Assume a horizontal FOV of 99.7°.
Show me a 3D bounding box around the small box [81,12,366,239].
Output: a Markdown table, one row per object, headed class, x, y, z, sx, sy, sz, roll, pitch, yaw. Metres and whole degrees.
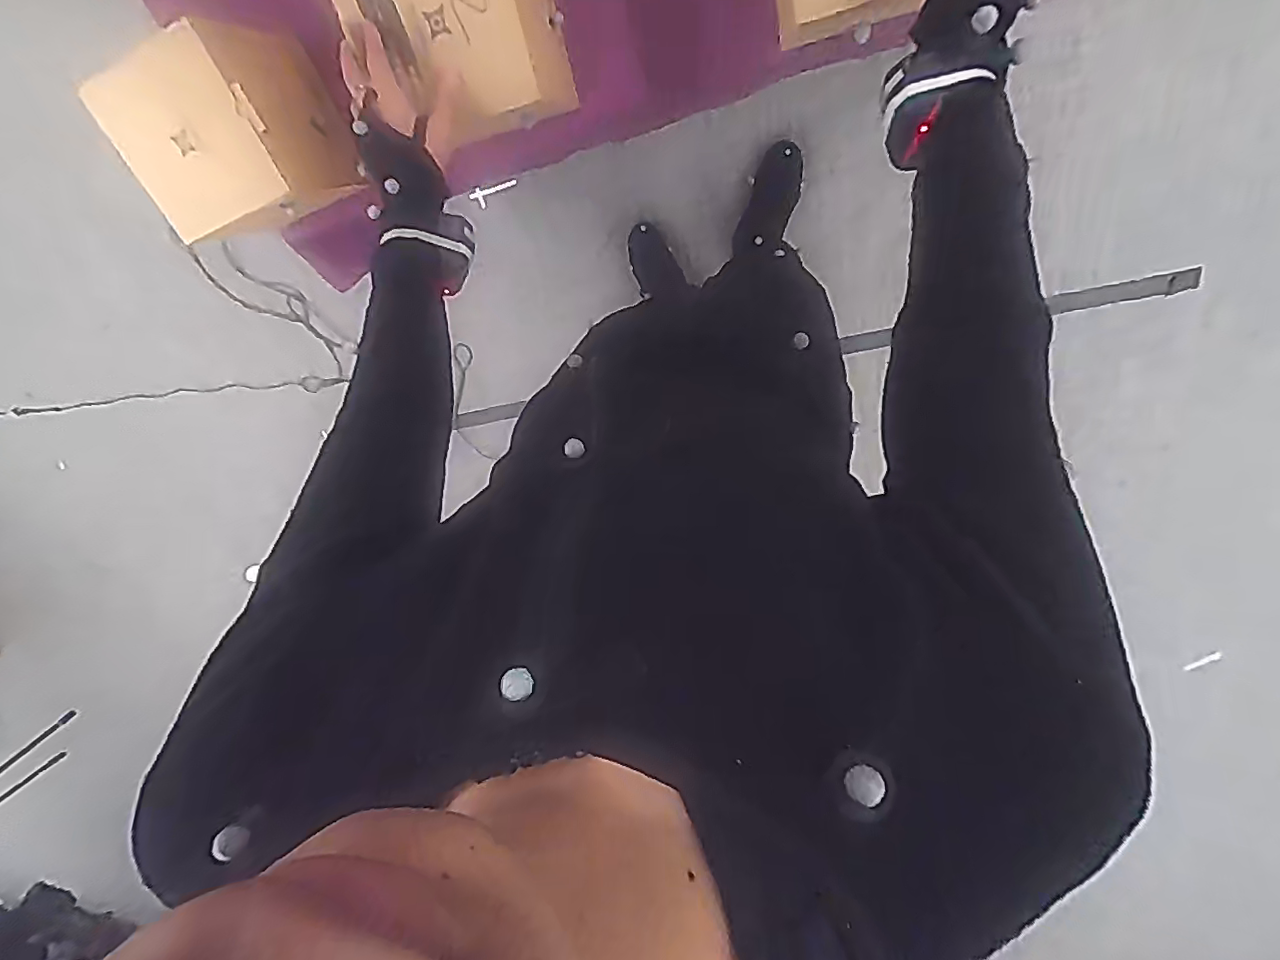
| class | x | y | z | sx | sy | sz | roll | pitch | yaw |
| --- | --- | --- | --- | --- | --- | --- | --- | --- | --- |
| small box | -0.482 | -0.414 | 0.656 | 0.179 | 0.176 | 0.168 | -14 | 119 | 16 |
